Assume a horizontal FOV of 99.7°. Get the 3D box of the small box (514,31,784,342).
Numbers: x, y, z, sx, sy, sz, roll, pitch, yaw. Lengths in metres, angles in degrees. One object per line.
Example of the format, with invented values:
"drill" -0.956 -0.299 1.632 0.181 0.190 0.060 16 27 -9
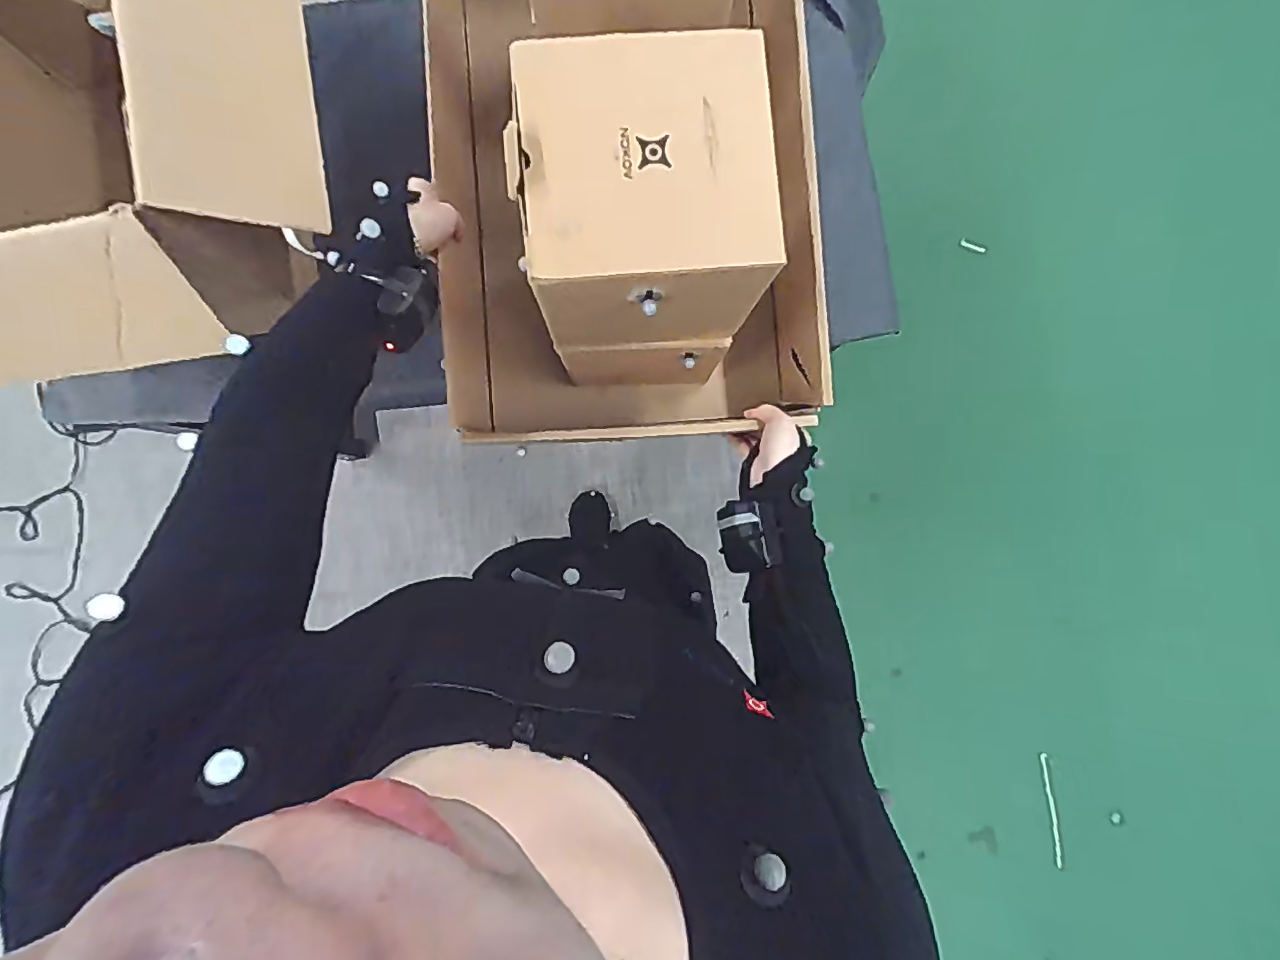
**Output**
"small box" 0.003 -0.220 0.448 0.179 0.176 0.168 -5 89 -3
